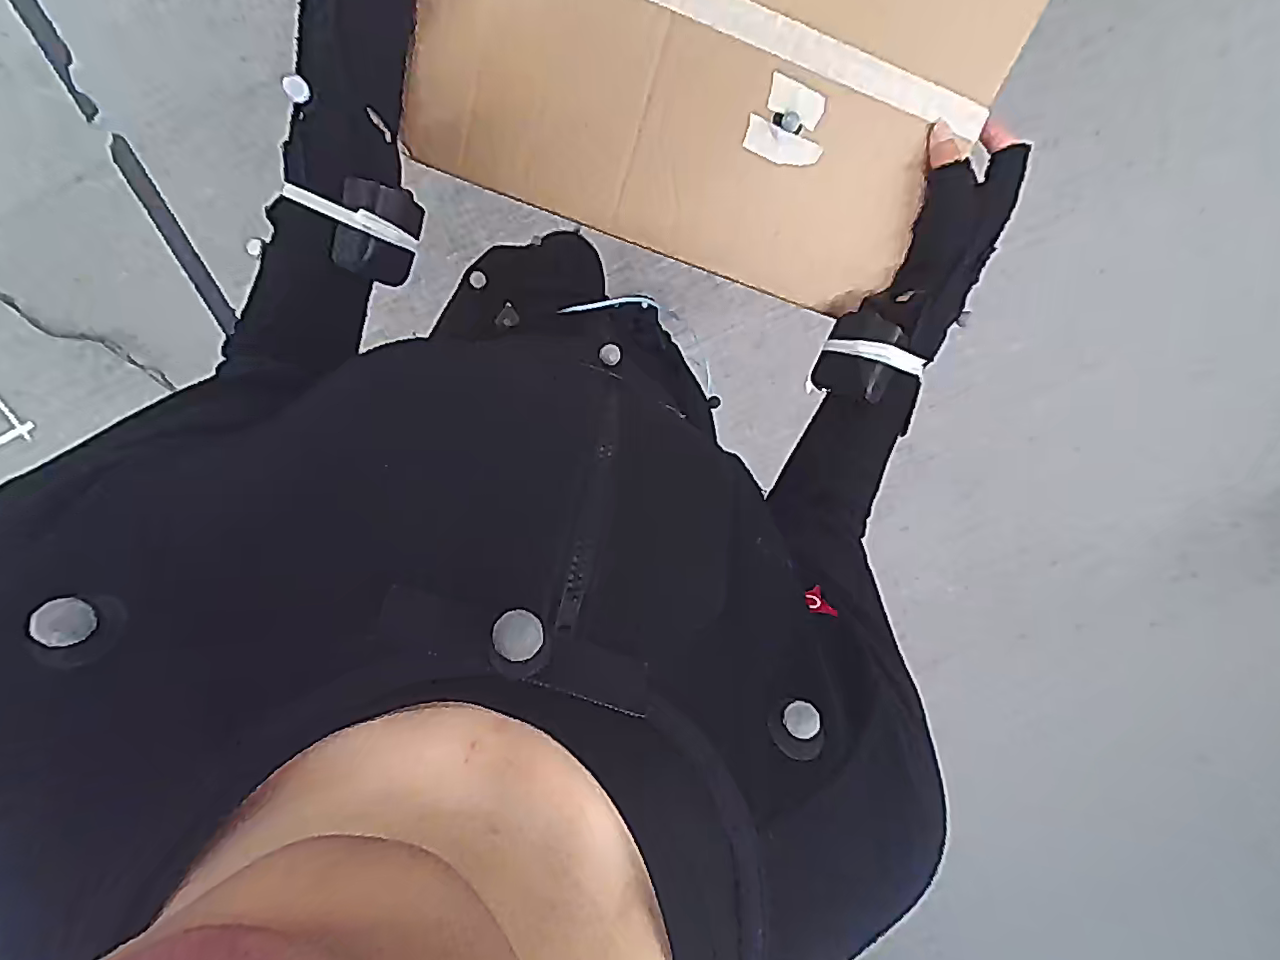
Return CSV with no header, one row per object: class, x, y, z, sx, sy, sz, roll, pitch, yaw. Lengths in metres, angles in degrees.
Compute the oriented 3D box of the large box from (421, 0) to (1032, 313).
large box,0.059,-0.396,0.513,0.408,0.320,0.320,16,118,-10
